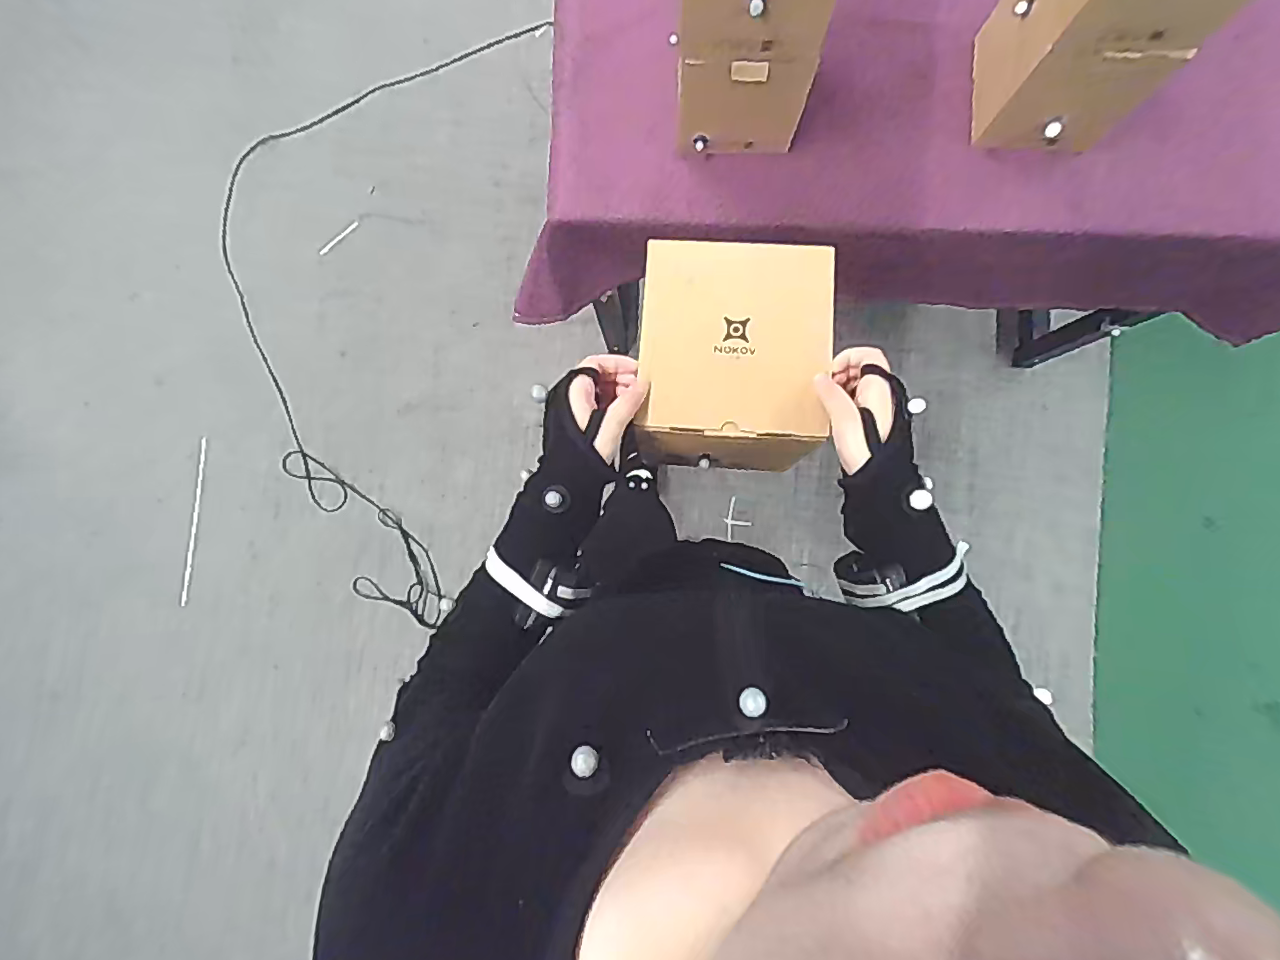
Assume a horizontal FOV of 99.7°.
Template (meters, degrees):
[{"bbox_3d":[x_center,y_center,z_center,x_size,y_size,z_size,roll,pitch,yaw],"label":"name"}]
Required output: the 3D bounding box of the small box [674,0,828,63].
[{"bbox_3d":[0.123,-0.584,0.568,0.168,0.176,0.179,3,87,2],"label":"small box"}]

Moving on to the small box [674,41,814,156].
[{"bbox_3d":[0.132,-0.571,0.732,0.168,0.176,0.179,1,85,2],"label":"small box"}]

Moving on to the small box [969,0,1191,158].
[{"bbox_3d":[0.566,-0.569,0.716,0.168,0.176,0.179,4,86,3],"label":"small box"}]
